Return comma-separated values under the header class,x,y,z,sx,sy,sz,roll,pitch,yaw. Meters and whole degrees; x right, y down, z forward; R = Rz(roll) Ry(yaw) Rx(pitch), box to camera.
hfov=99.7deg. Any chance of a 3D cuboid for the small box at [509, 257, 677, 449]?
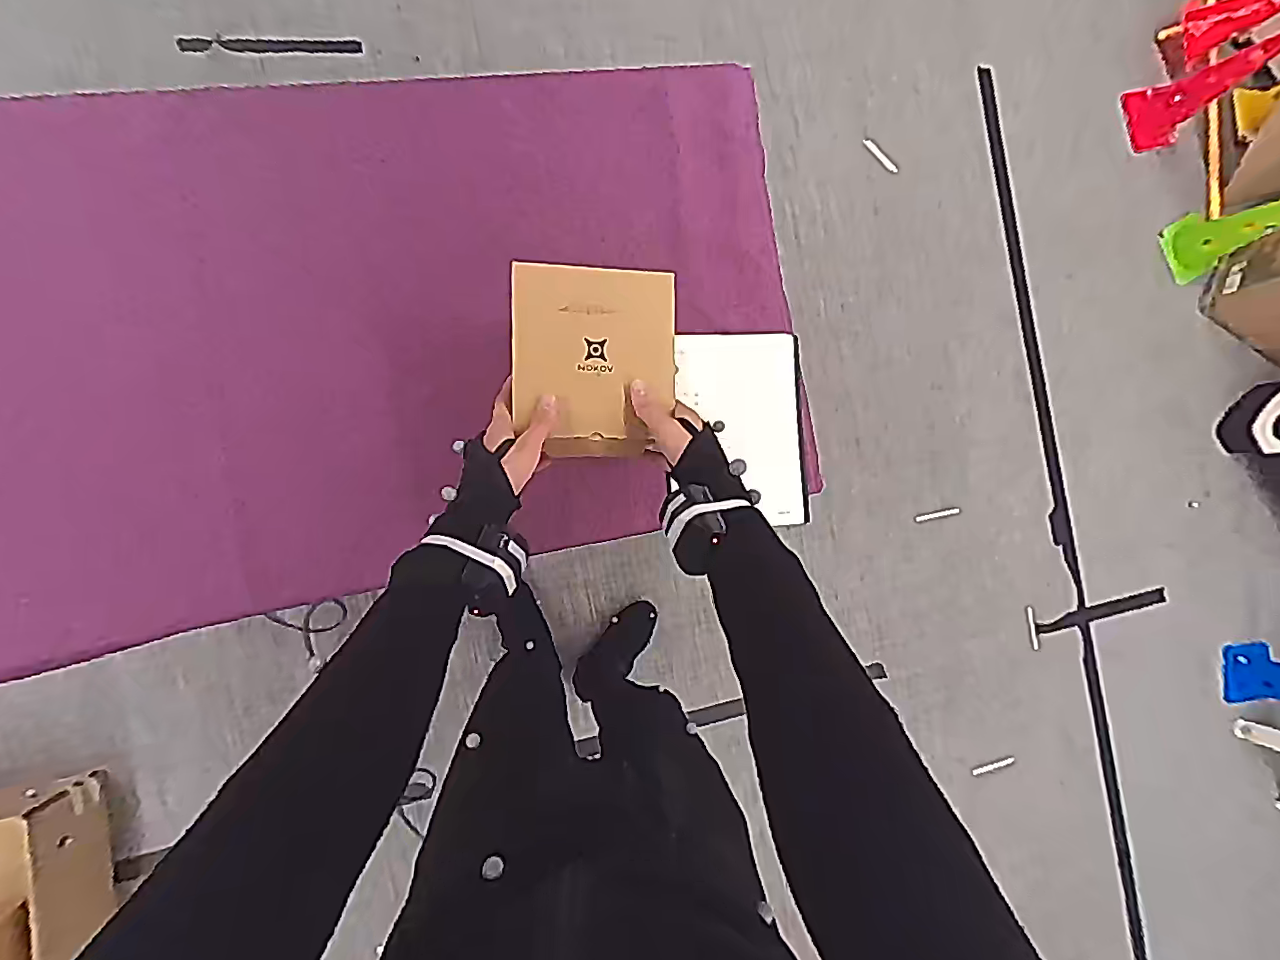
class,x,y,z,sx,sy,sz,roll,pitch,yaw
small box,-0.060,-0.127,0.613,0.168,0.176,0.179,1,89,-12
